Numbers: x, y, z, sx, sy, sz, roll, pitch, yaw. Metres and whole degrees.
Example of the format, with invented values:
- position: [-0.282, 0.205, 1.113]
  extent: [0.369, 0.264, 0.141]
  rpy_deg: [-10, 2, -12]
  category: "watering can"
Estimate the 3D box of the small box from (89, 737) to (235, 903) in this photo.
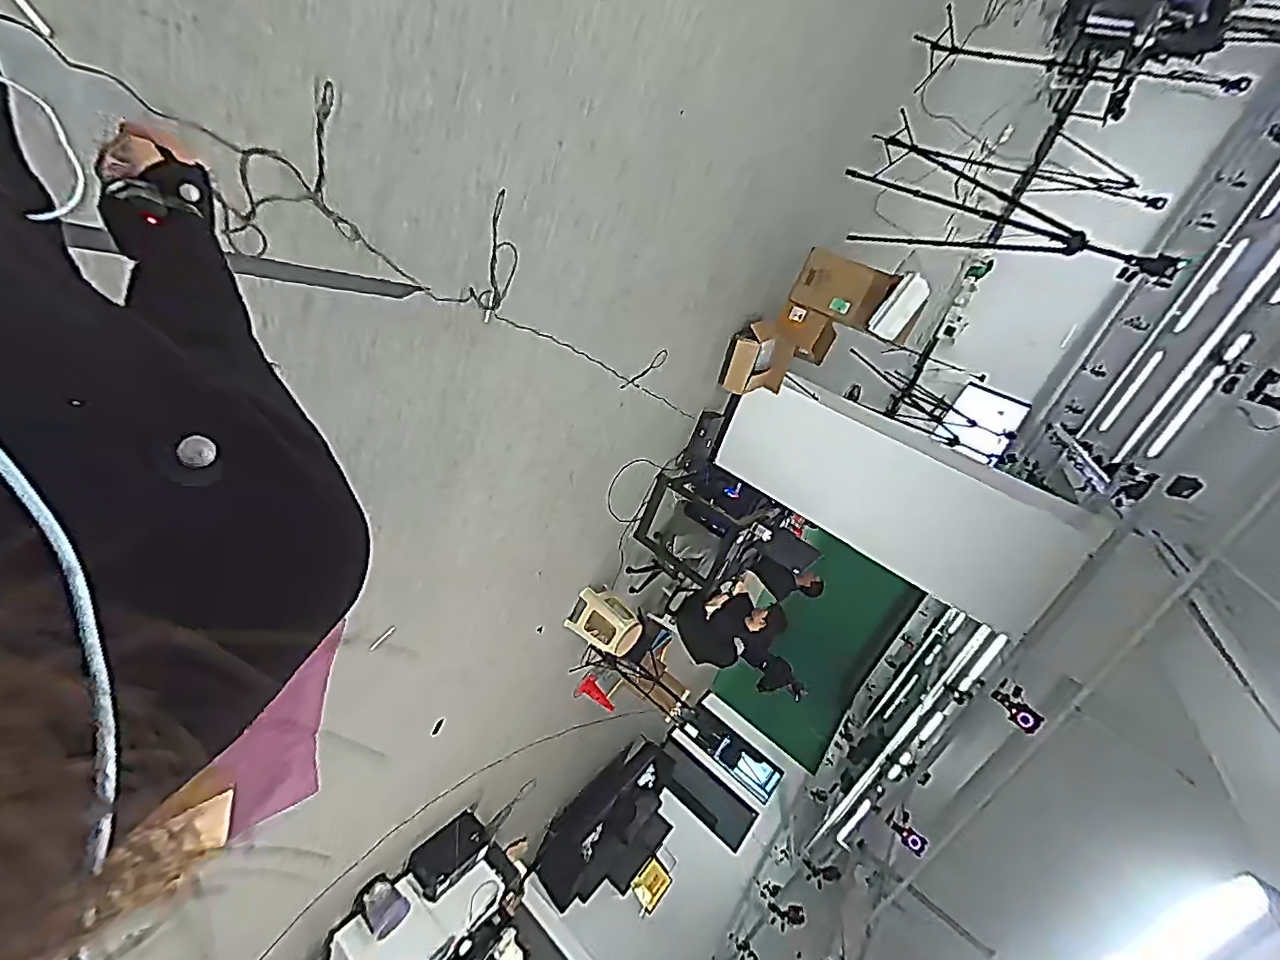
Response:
- position: [-0.898, 0.618, 1.015]
  extent: [0.168, 0.176, 0.179]
  rpy_deg: [-11, 129, -56]
  category: "small box"
